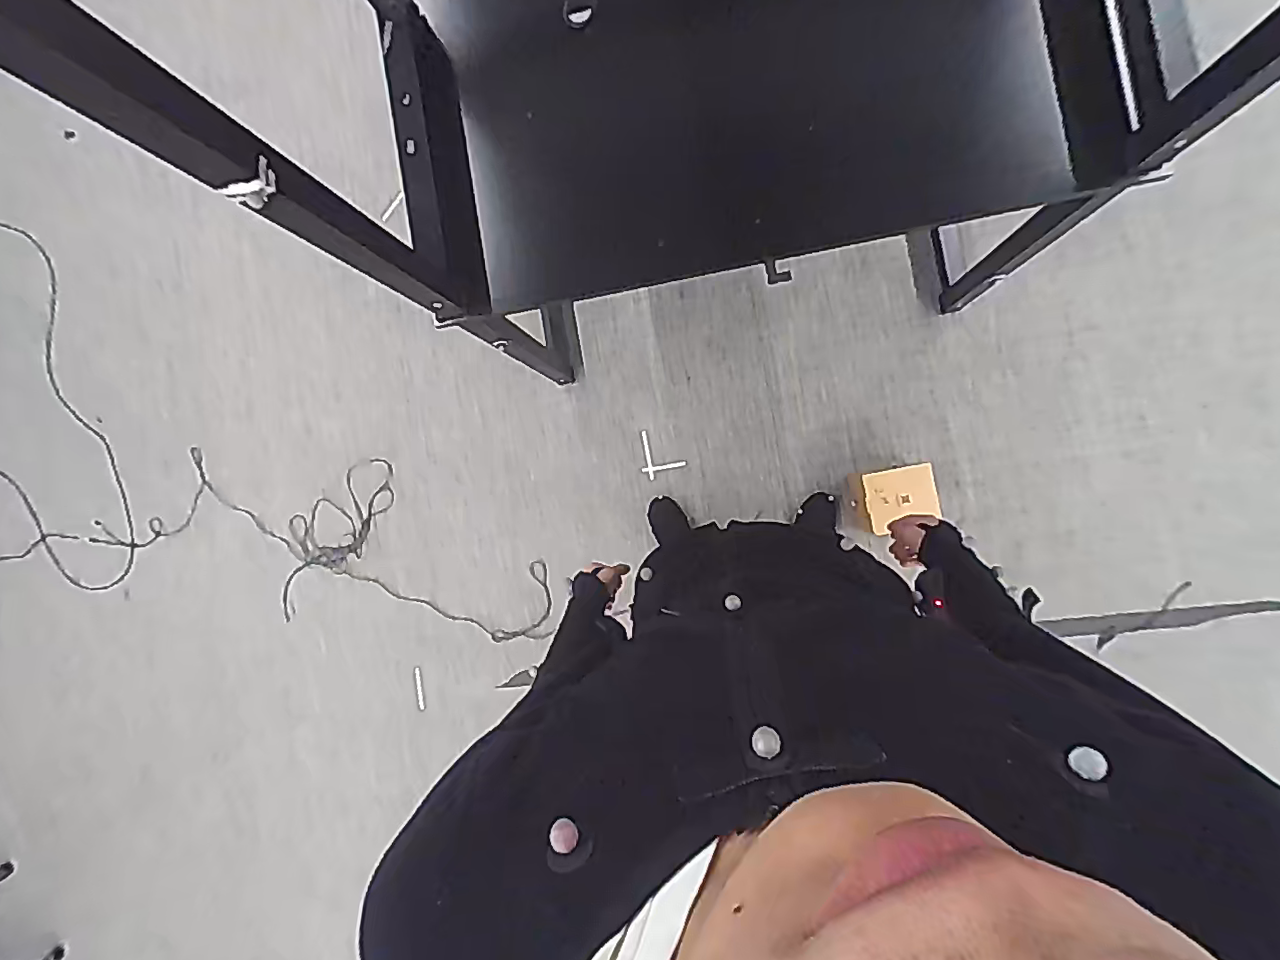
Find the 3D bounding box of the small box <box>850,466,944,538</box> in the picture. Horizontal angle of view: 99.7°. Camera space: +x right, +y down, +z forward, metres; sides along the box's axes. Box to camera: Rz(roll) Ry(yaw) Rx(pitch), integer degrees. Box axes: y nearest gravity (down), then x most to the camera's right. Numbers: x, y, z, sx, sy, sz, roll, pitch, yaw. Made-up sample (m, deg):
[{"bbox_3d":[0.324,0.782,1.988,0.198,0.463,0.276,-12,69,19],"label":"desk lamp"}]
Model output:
[{"bbox_3d":[0.693,0.057,1.476,0.179,0.176,0.168,-11,88,9],"label":"small box"}]
